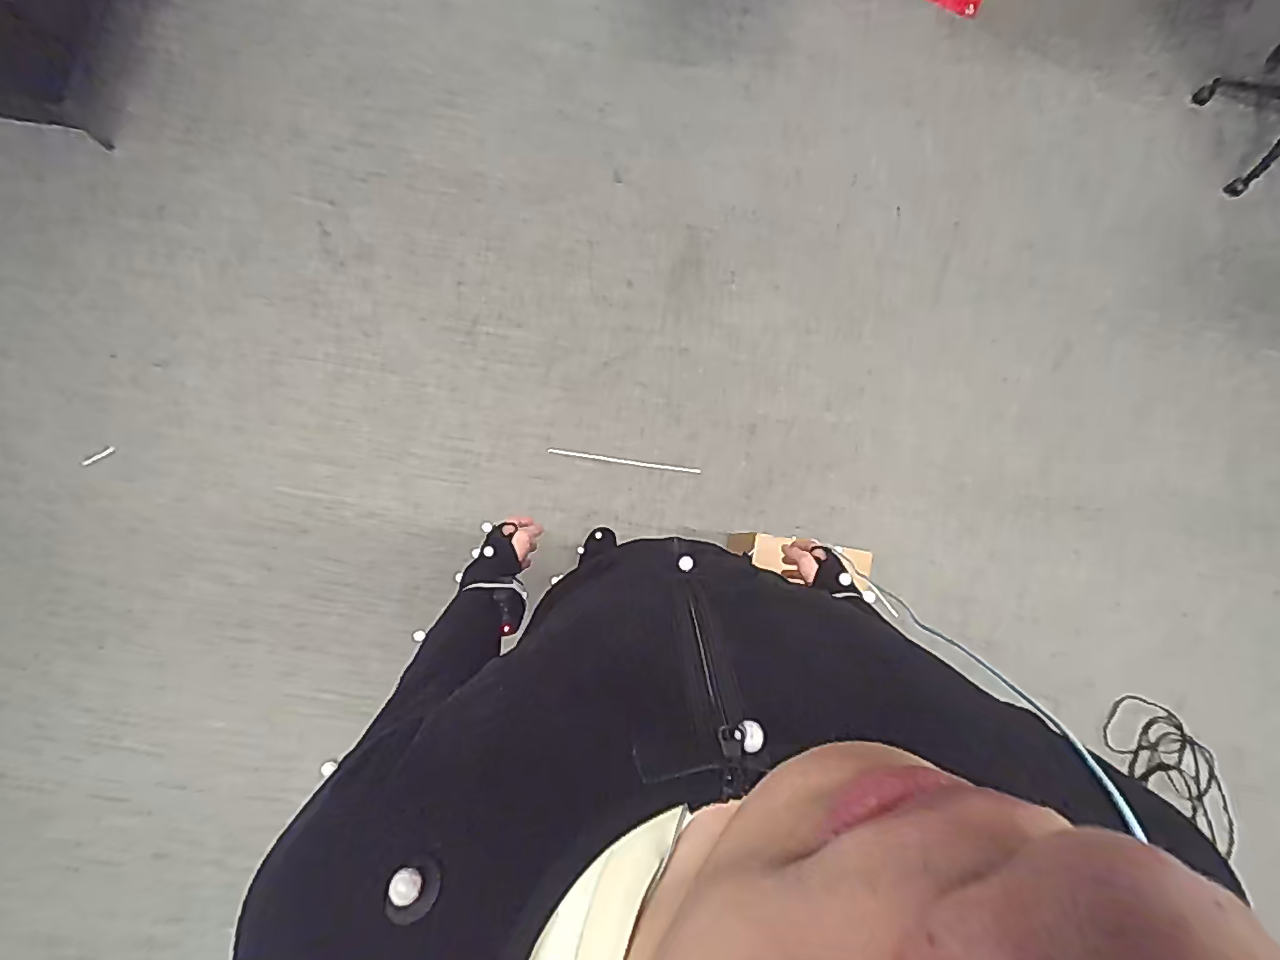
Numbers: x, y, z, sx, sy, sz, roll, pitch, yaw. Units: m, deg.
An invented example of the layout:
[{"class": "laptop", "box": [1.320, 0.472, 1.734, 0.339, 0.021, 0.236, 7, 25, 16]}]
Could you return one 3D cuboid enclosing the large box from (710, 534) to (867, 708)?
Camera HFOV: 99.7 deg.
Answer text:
[{"class": "large box", "box": [0.398, 0.368, 1.513, 0.320, 0.320, 0.408, 10, 83, -3]}]
